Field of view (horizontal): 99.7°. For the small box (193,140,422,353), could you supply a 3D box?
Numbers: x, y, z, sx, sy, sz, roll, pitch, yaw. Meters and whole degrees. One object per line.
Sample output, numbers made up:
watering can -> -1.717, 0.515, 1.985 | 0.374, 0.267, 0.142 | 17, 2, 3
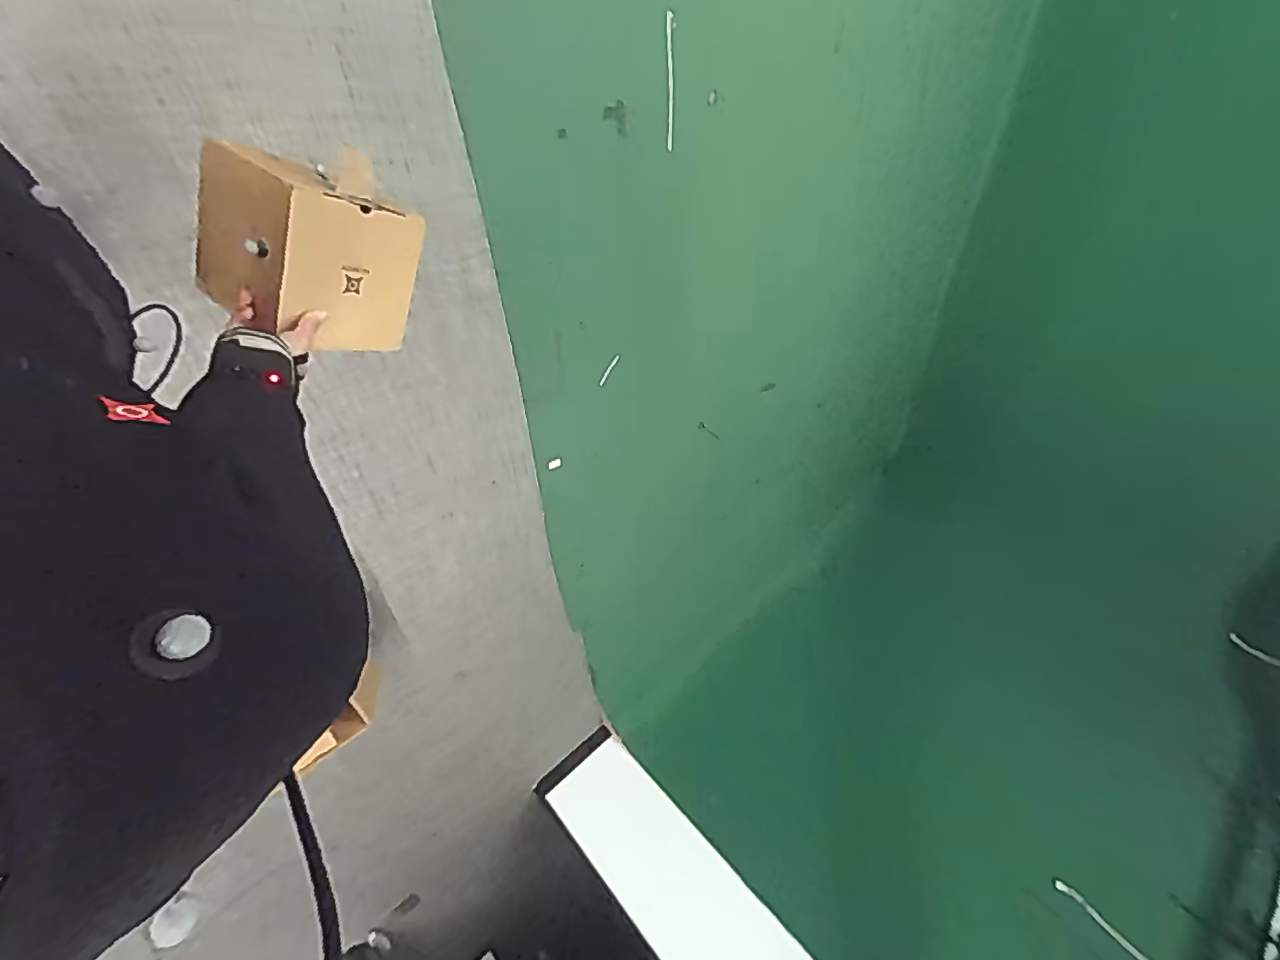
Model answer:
small box -> -0.404, -0.272, 0.657 | 0.168, 0.176, 0.179 | -22, 139, -61
